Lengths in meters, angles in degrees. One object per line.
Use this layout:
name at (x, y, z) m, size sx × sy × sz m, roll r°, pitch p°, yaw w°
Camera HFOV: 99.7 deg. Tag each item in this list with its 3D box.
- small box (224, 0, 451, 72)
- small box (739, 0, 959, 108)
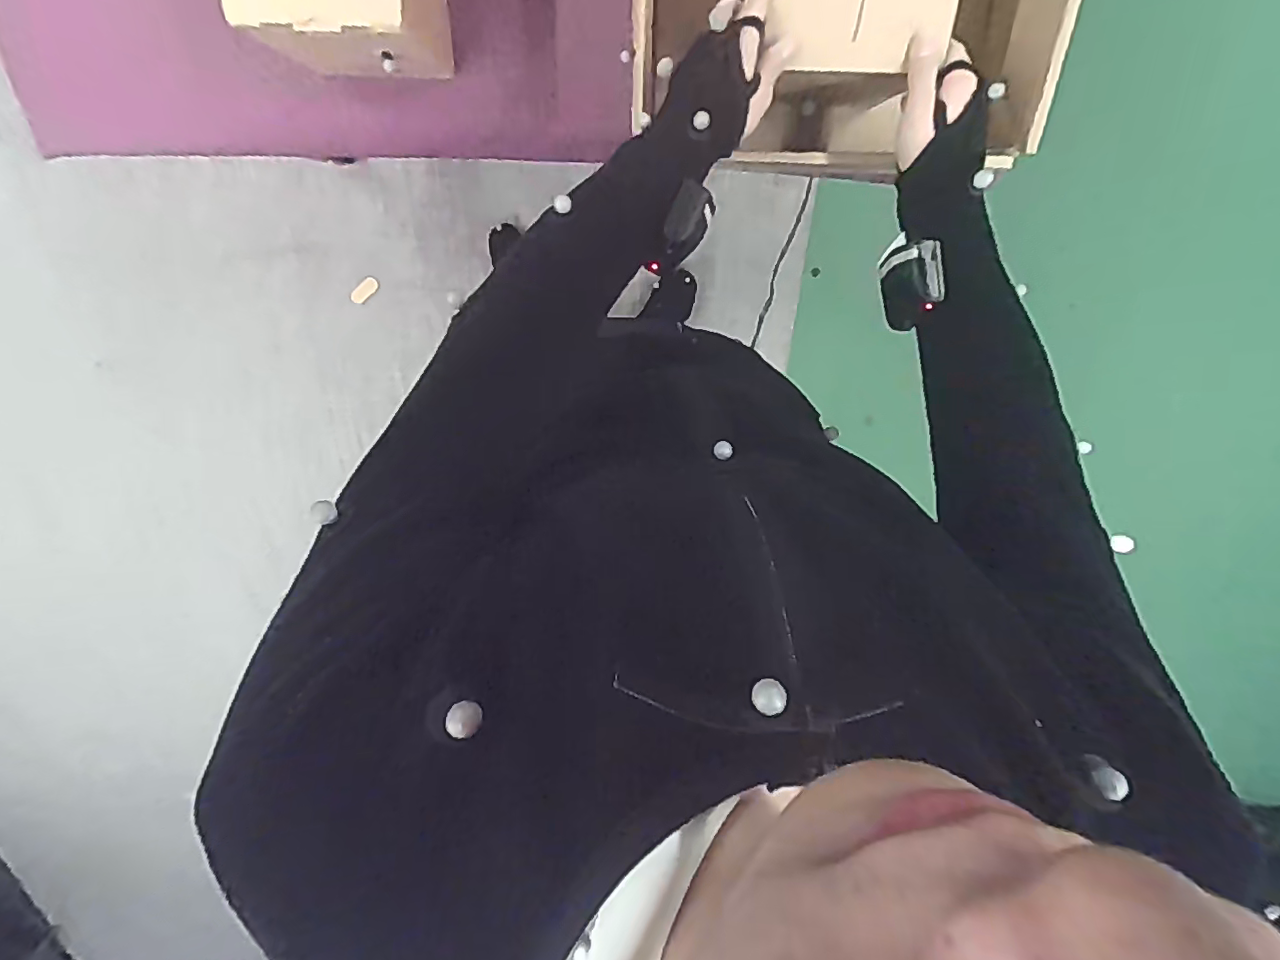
small box at (-0.301, -0.538, 0.544) m, size 0.168 × 0.176 × 0.179 m, roll 1°, pitch 114°, yaw -2°
small box at (0.194, -0.482, 0.520) m, size 0.168 × 0.176 × 0.179 m, roll 2°, pitch 116°, yaw 1°
